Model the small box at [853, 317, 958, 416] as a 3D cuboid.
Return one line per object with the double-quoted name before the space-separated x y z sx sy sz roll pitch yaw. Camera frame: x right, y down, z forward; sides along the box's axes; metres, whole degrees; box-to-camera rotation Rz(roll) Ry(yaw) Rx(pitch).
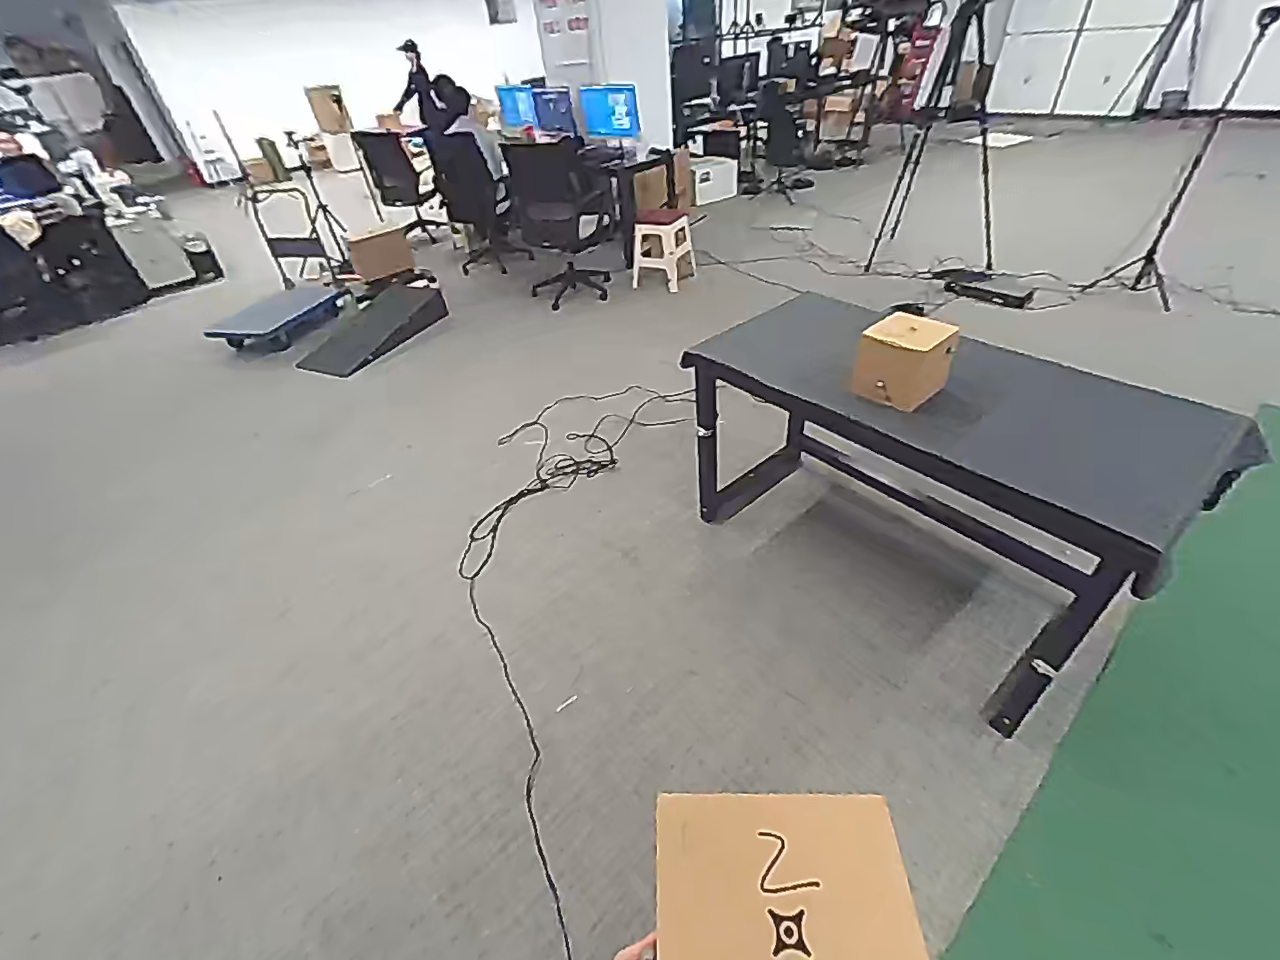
"small box" 0.667 -0.290 1.378 0.179 0.176 0.168 -31 45 -28
